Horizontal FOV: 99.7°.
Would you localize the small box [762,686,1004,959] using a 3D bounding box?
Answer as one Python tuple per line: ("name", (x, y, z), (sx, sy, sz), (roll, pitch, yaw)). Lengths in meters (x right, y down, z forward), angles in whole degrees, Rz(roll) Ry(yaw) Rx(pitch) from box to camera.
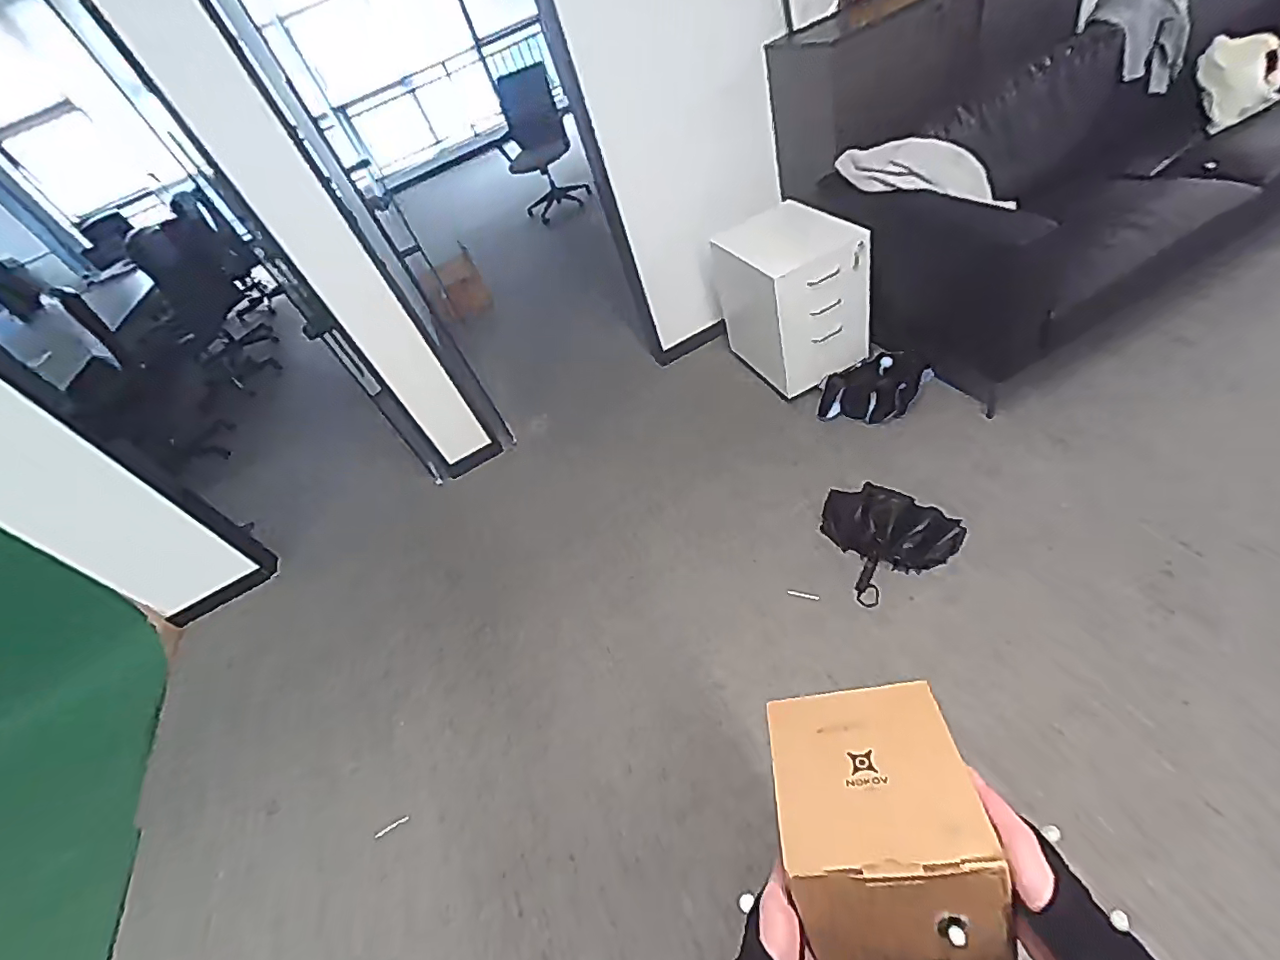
("small box", (0.223, 0.335, 0.520), (0.168, 0.176, 0.179), (-13, 22, 13))
